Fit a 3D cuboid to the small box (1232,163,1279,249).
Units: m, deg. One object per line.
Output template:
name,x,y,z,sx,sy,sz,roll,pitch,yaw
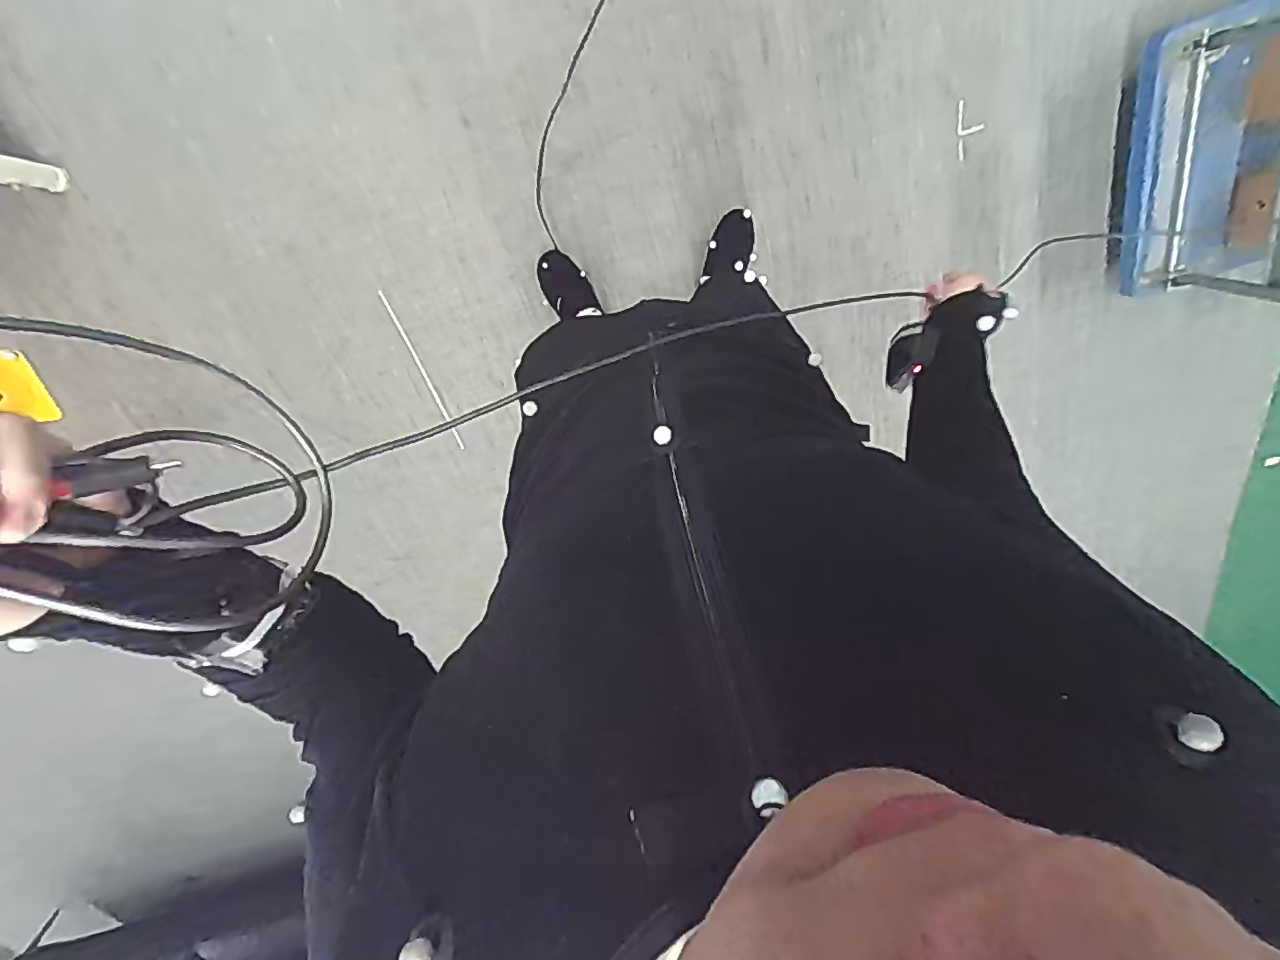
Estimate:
small box,1.518,-0.632,1.213,0.179,0.176,0.168,-16,118,6
